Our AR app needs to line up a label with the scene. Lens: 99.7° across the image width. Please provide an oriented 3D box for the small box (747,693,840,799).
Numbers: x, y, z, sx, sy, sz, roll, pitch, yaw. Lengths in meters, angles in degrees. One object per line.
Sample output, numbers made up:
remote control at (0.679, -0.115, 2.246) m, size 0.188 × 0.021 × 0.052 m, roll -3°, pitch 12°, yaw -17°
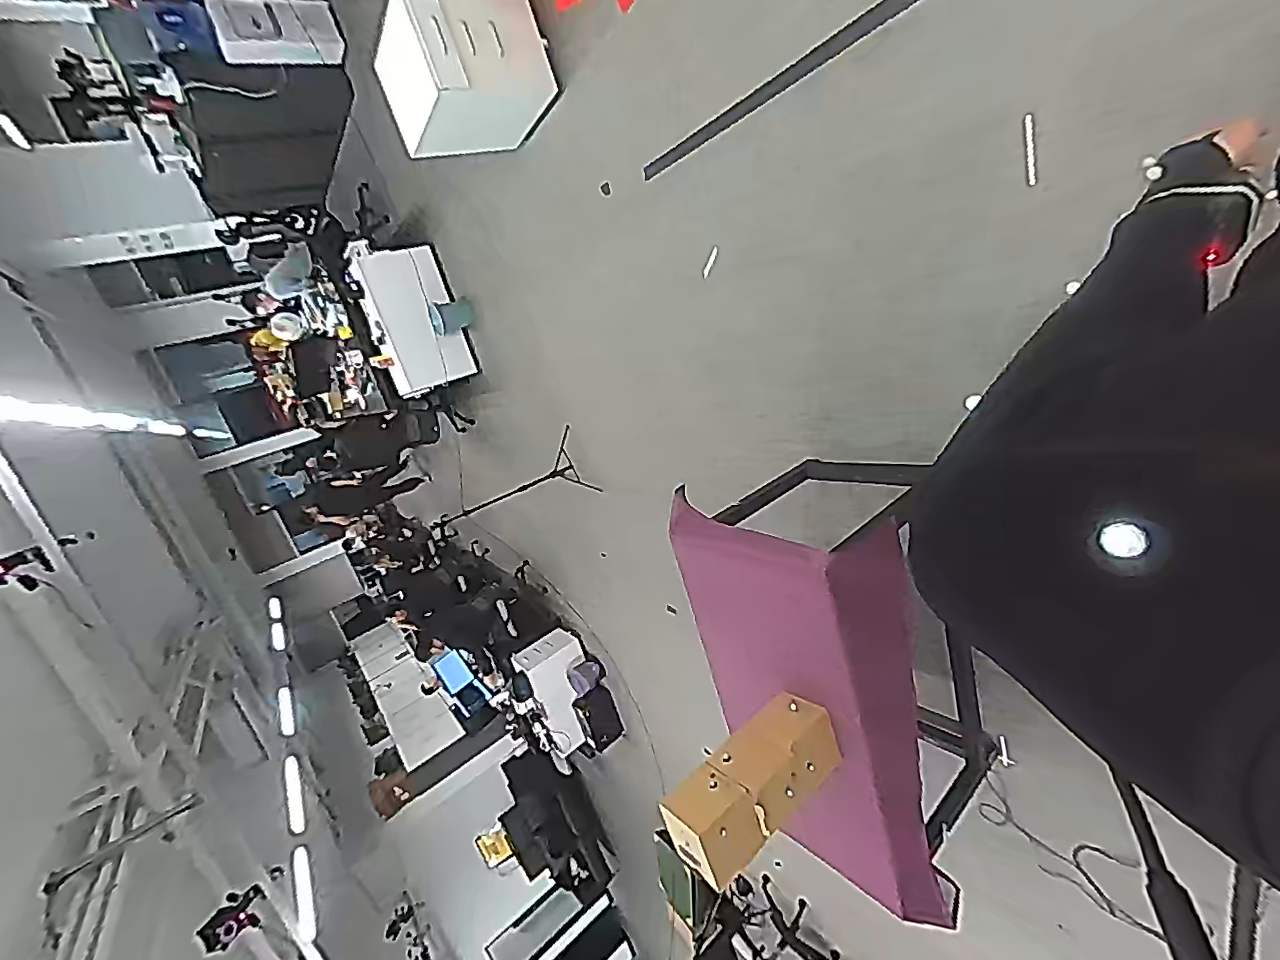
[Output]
small box at (0.438, 0.745, 1.531) m, size 0.168 × 0.176 × 0.179 m, roll 0°, pitch 112°, yaw 56°

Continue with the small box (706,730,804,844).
small box at (0.309, 0.809, 1.451) m, size 0.179 × 0.176 × 0.168 m, roll 9°, pitch 121°, yaw 54°
